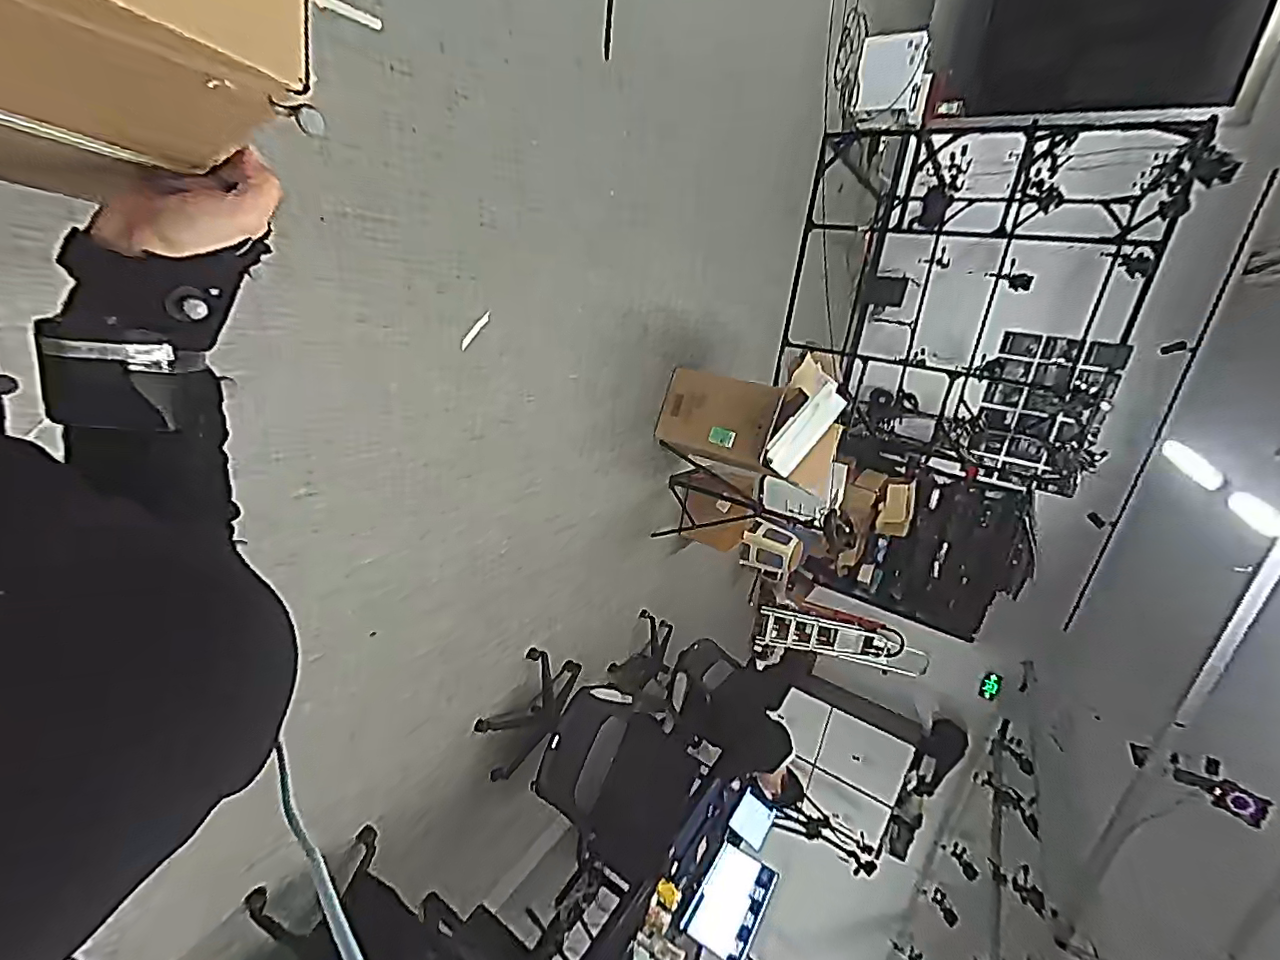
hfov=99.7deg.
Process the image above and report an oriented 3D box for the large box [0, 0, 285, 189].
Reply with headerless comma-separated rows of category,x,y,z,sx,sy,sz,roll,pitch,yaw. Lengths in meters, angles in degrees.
large box,-0.388,-0.336,0.149,0.408,0.320,0.320,-8,105,-52
